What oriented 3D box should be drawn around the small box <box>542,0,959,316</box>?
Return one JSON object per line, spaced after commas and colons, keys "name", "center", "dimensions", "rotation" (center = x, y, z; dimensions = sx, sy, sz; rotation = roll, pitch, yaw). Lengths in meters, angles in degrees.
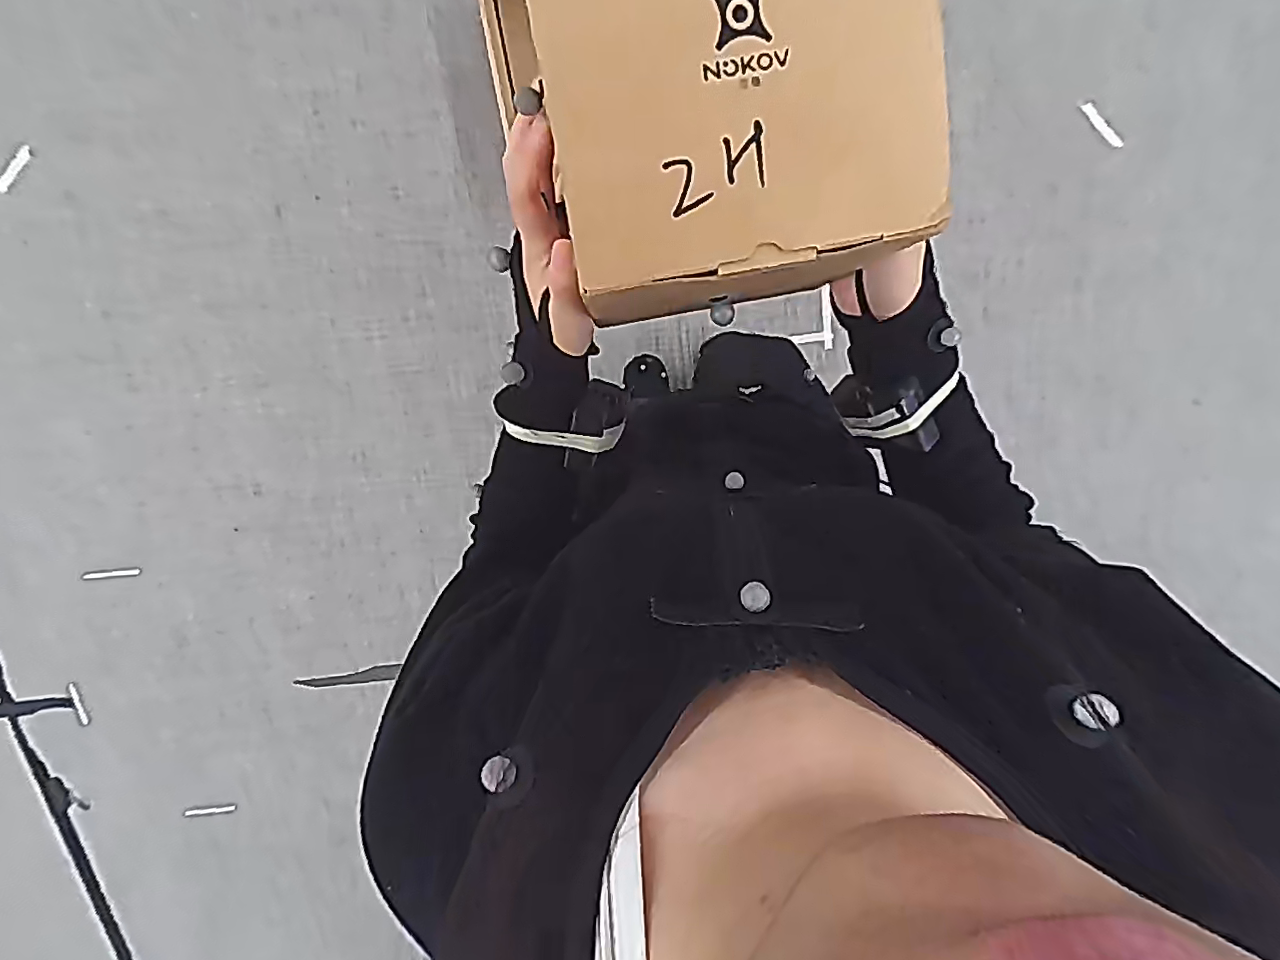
{"name": "small box", "center": [0.040, -0.199, 0.296], "dimensions": [0.168, 0.176, 0.179], "rotation": [-10, 102, 0]}
